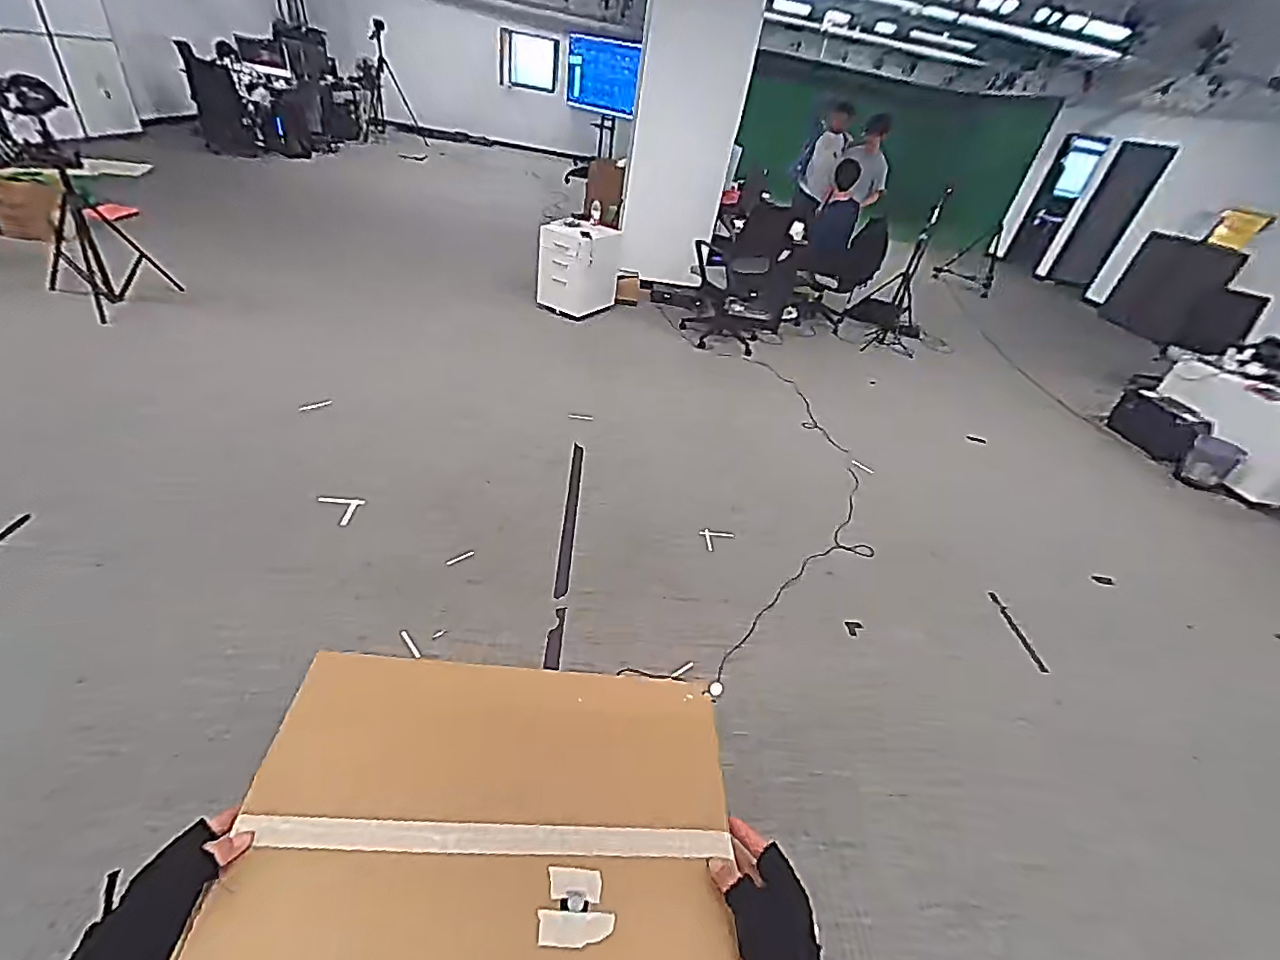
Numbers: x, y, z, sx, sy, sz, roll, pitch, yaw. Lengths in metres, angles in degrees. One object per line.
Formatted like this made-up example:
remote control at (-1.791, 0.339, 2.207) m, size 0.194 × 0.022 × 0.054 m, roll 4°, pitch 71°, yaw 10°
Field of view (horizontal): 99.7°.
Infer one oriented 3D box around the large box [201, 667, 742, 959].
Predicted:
large box at (-0.145, 0.423, 0.552) m, size 0.408 × 0.320 × 0.320 m, roll 8°, pitch 40°, yaw -9°
